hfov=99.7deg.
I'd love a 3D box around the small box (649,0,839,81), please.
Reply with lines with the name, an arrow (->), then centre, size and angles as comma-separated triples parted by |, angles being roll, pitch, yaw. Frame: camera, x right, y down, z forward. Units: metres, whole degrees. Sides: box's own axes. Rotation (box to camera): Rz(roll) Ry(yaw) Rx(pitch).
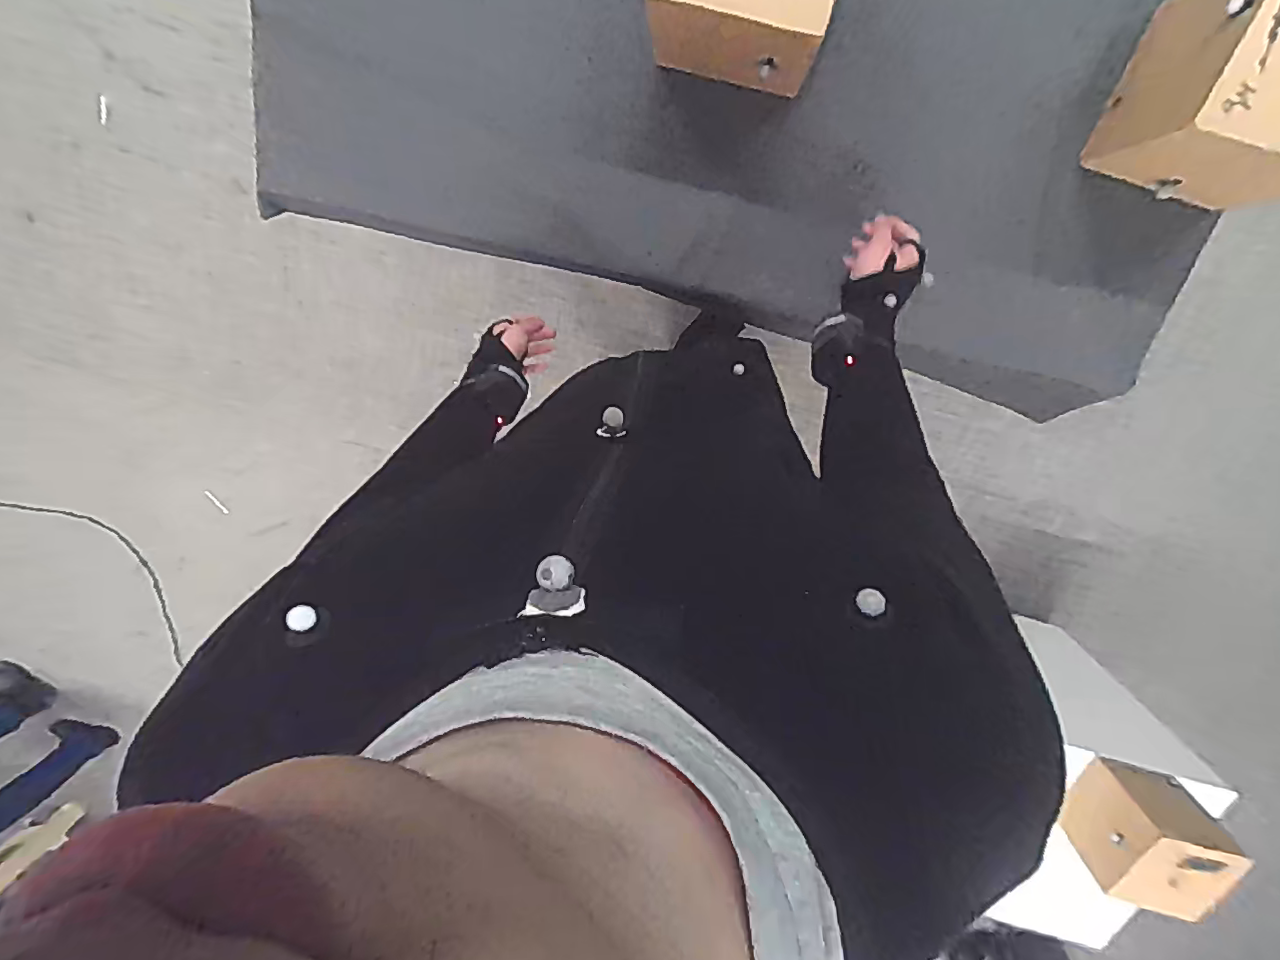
small box -> 0.114, -0.531, 0.538 | 0.179, 0.176, 0.168 | 14, 110, 1

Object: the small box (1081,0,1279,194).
small box -> 0.616, -0.402, 0.541 | 0.179, 0.176, 0.168 | 18, 111, -2

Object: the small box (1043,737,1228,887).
small box -> 0.944, 0.638, 1.054 | 0.168, 0.176, 0.179 | 15, 114, -1
